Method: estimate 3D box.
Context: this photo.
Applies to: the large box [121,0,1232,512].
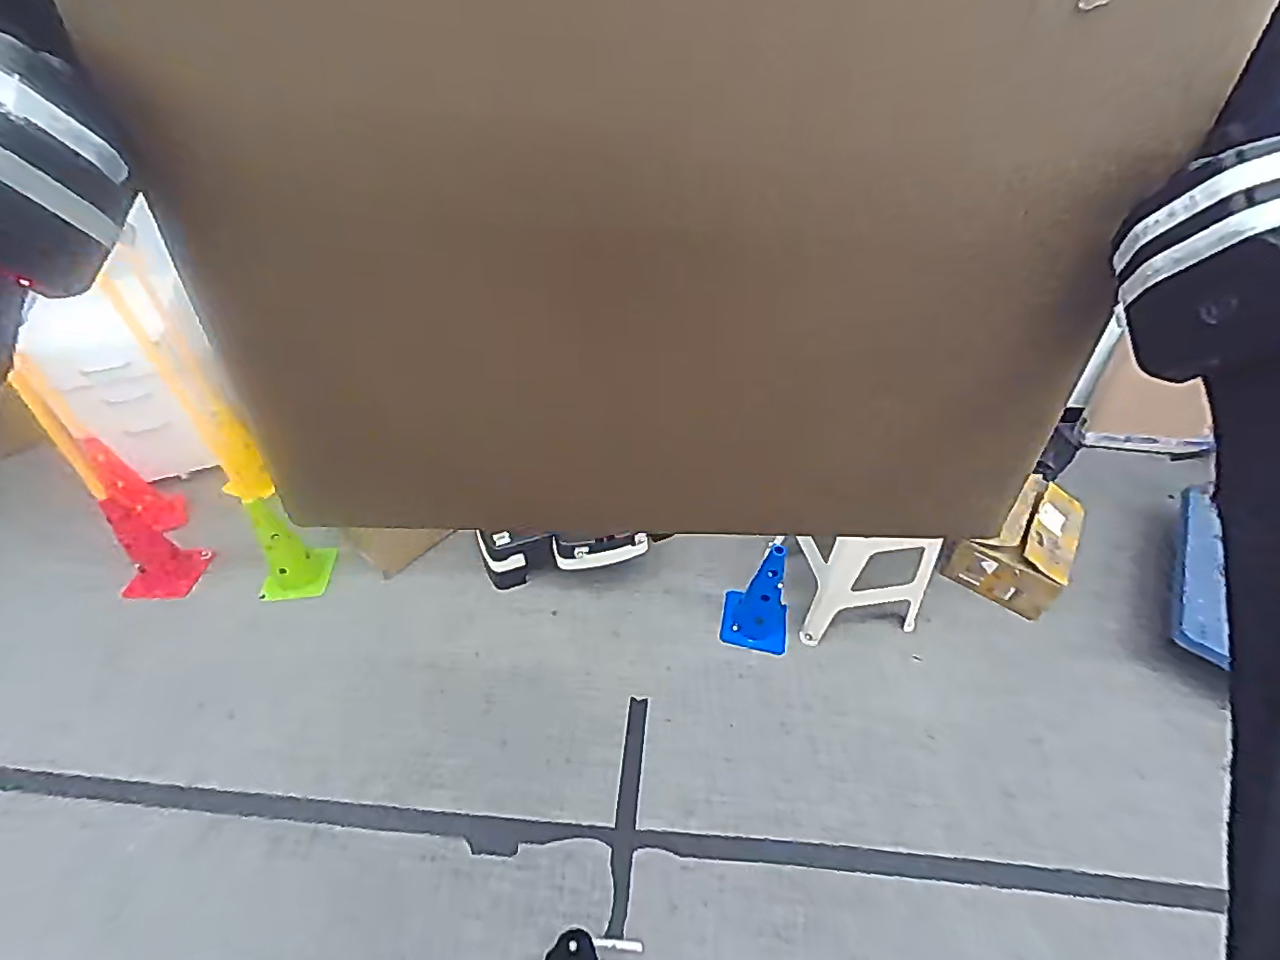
[{"bbox_3d":[0.009,-0.190,0.352,0.408,0.320,0.320,2,35,-1],"label":"large box"}]
